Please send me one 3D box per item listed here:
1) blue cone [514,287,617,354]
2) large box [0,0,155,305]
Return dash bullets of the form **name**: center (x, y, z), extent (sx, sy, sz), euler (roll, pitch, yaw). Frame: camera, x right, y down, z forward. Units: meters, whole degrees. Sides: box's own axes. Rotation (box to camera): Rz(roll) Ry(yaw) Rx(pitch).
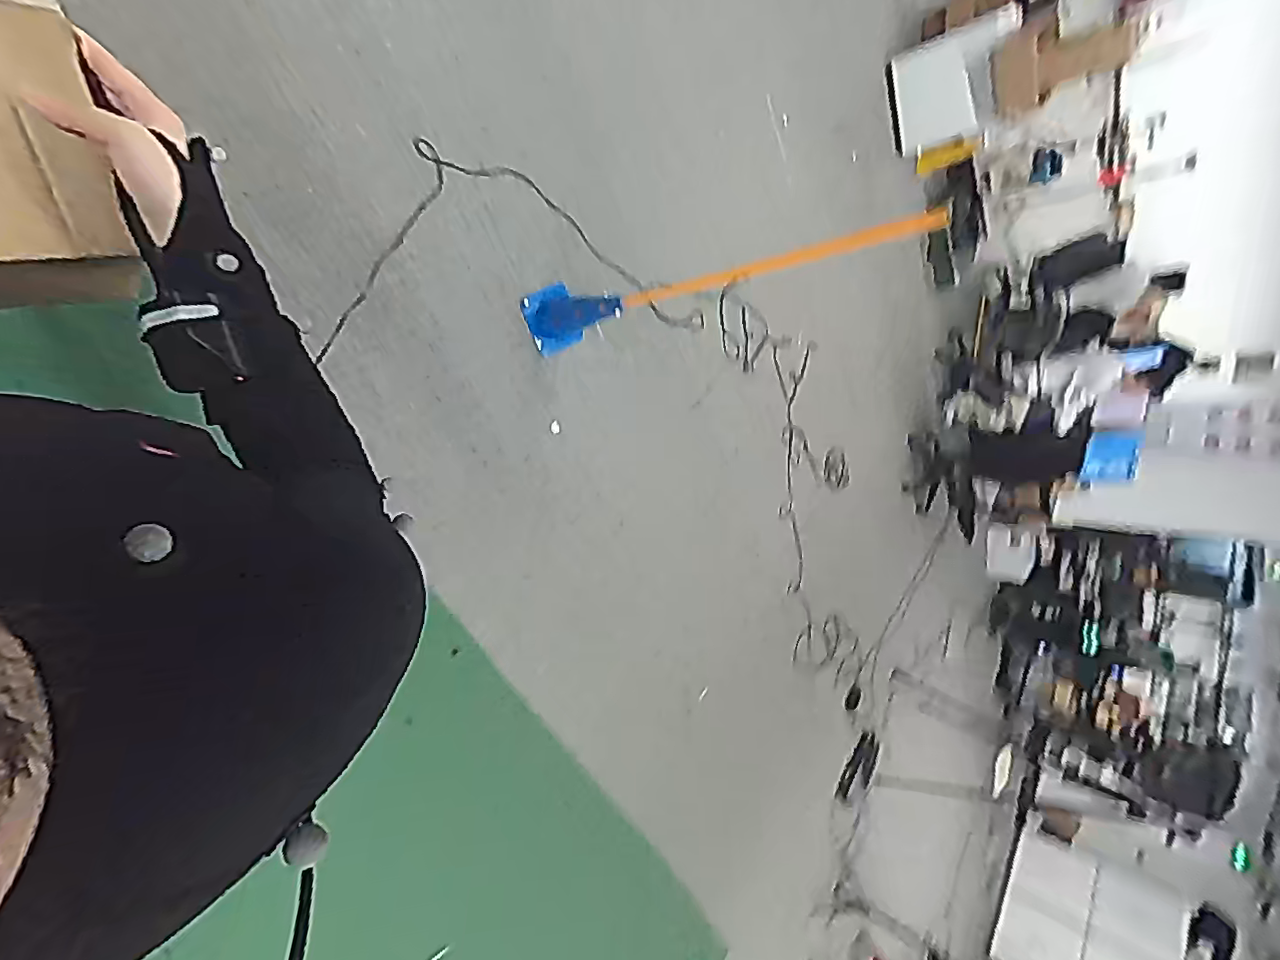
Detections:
- **blue cone**: center (-0.202, -0.523, 1.684), extent (0.192, 0.380, 0.193), euler (-37, 118, -35)
- **large box**: center (-0.622, -0.271, 0.331), extent (0.408, 0.320, 0.320), euler (-23, 114, -41)
